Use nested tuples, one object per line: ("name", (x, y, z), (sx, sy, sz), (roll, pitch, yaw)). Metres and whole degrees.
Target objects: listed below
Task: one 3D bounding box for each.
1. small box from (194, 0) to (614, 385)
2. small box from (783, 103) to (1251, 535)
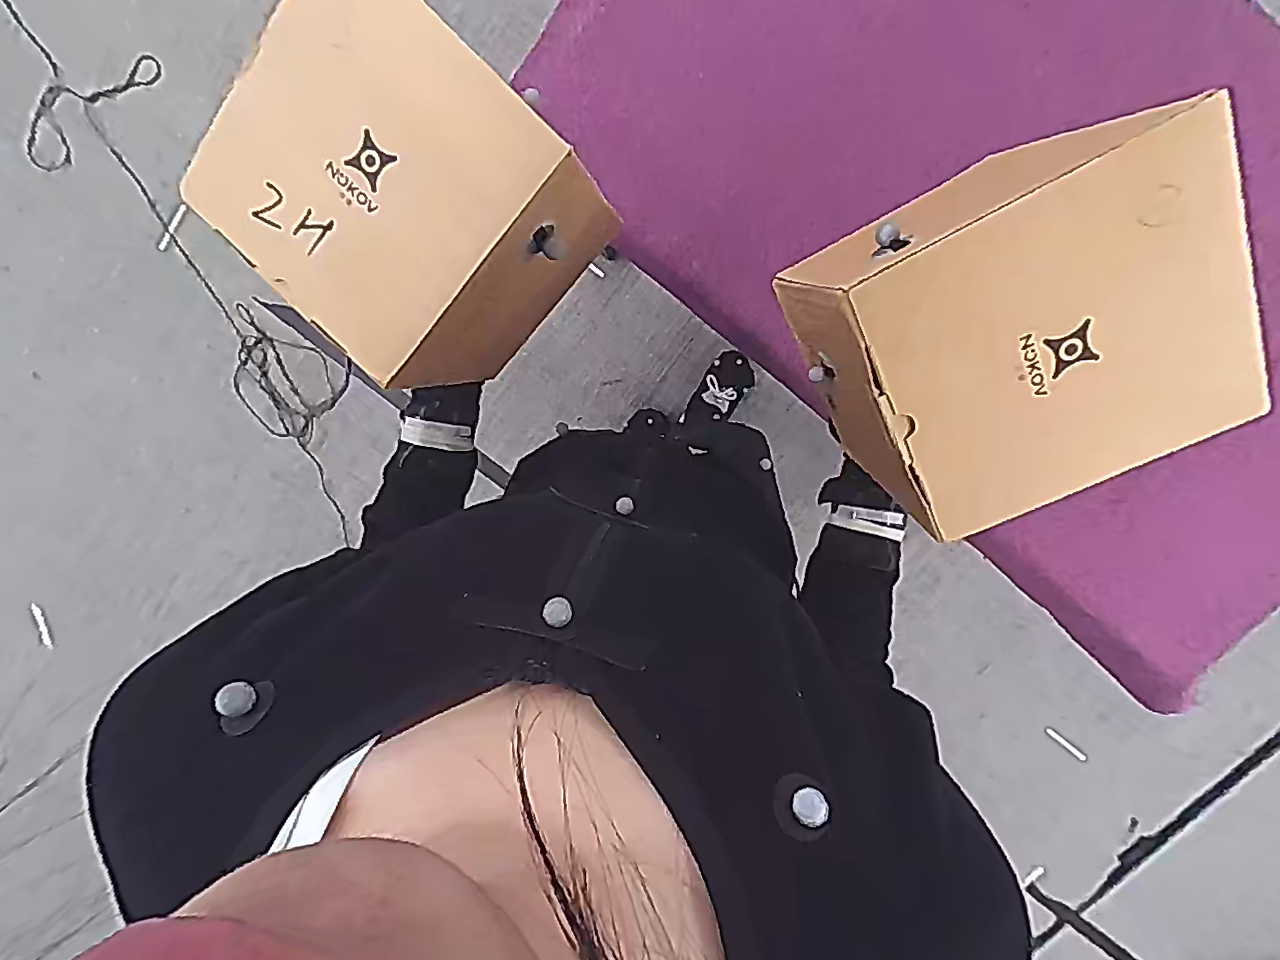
("small box", (-0.134, -0.189, 0.376), (0.168, 0.176, 0.179), (44, 105, -3))
("small box", (0.219, -0.100, 0.356), (0.179, 0.176, 0.168), (-27, 110, 12))
